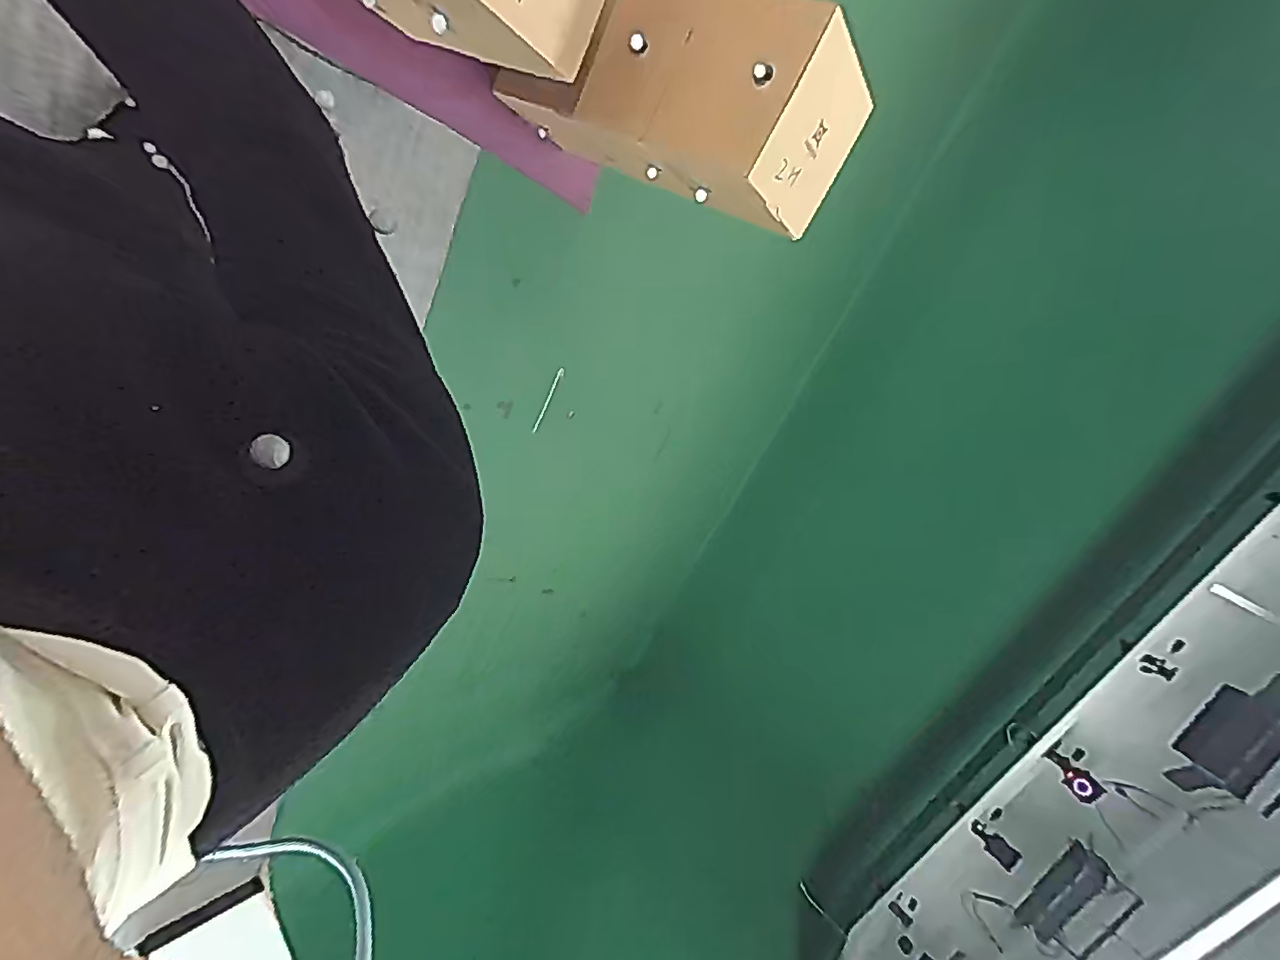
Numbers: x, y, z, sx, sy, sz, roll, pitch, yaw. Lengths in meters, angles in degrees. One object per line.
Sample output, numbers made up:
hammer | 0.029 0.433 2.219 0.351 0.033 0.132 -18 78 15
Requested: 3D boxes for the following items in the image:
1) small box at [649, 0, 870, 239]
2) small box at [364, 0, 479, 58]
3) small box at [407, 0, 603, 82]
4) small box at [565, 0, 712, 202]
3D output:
small box | 0.140 -0.432 0.653 0.168 0.176 0.179 5 119 -55
small box | -0.252 -0.610 0.584 0.168 0.176 0.179 0 121 -54
small box | -0.137 -0.525 0.504 0.168 0.176 0.179 1 122 -55
small box | 0.026 -0.520 0.734 0.168 0.176 0.179 4 119 -55
